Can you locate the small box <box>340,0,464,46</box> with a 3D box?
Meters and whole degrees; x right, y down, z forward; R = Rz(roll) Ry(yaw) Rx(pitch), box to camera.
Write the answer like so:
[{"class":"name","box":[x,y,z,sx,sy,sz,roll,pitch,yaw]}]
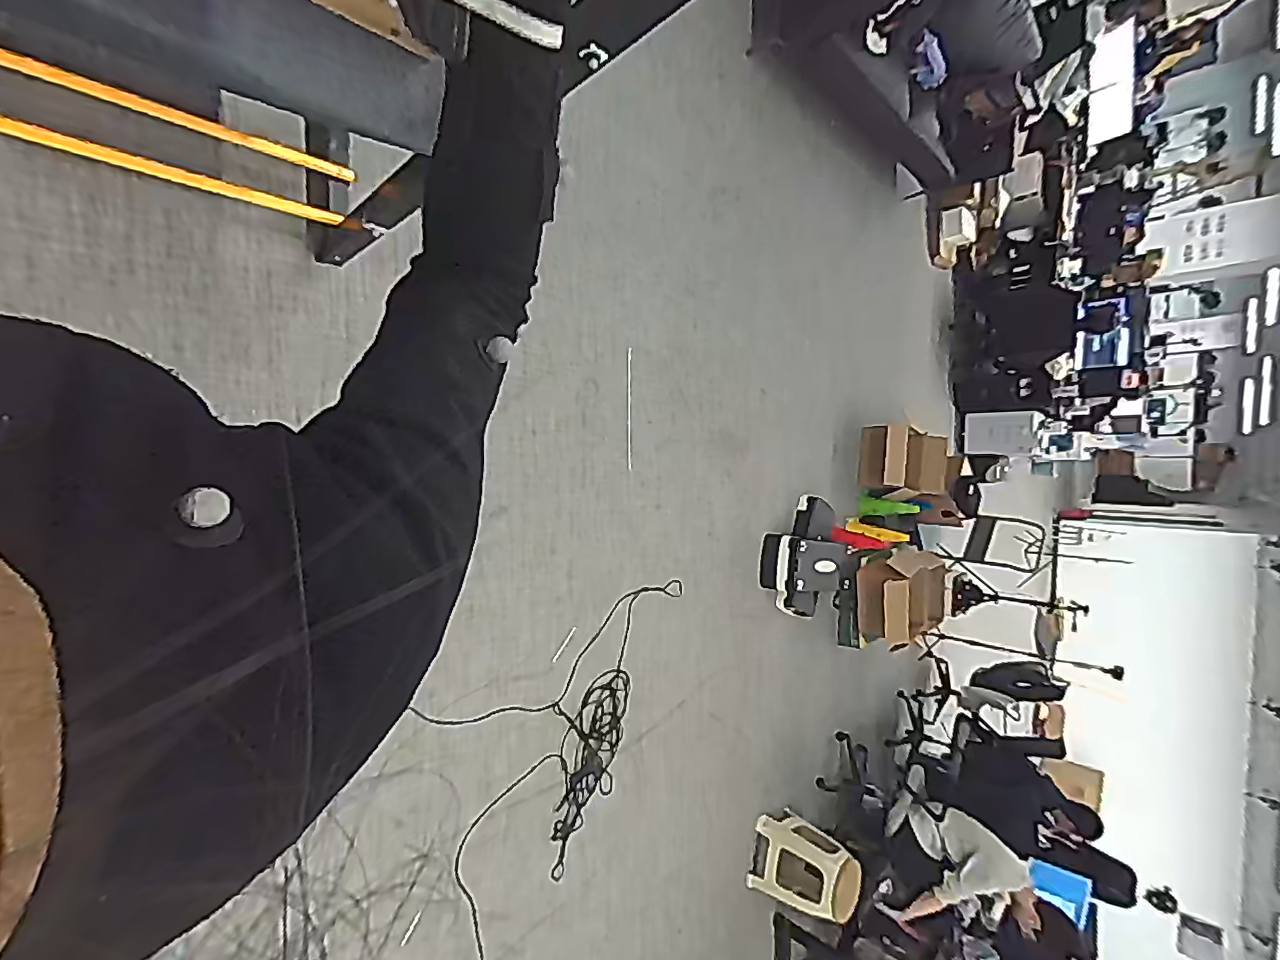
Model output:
[{"class":"small box","box":[-0.309,-0.701,0.671,0.168,0.176,0.179,-5,95,-46]}]
